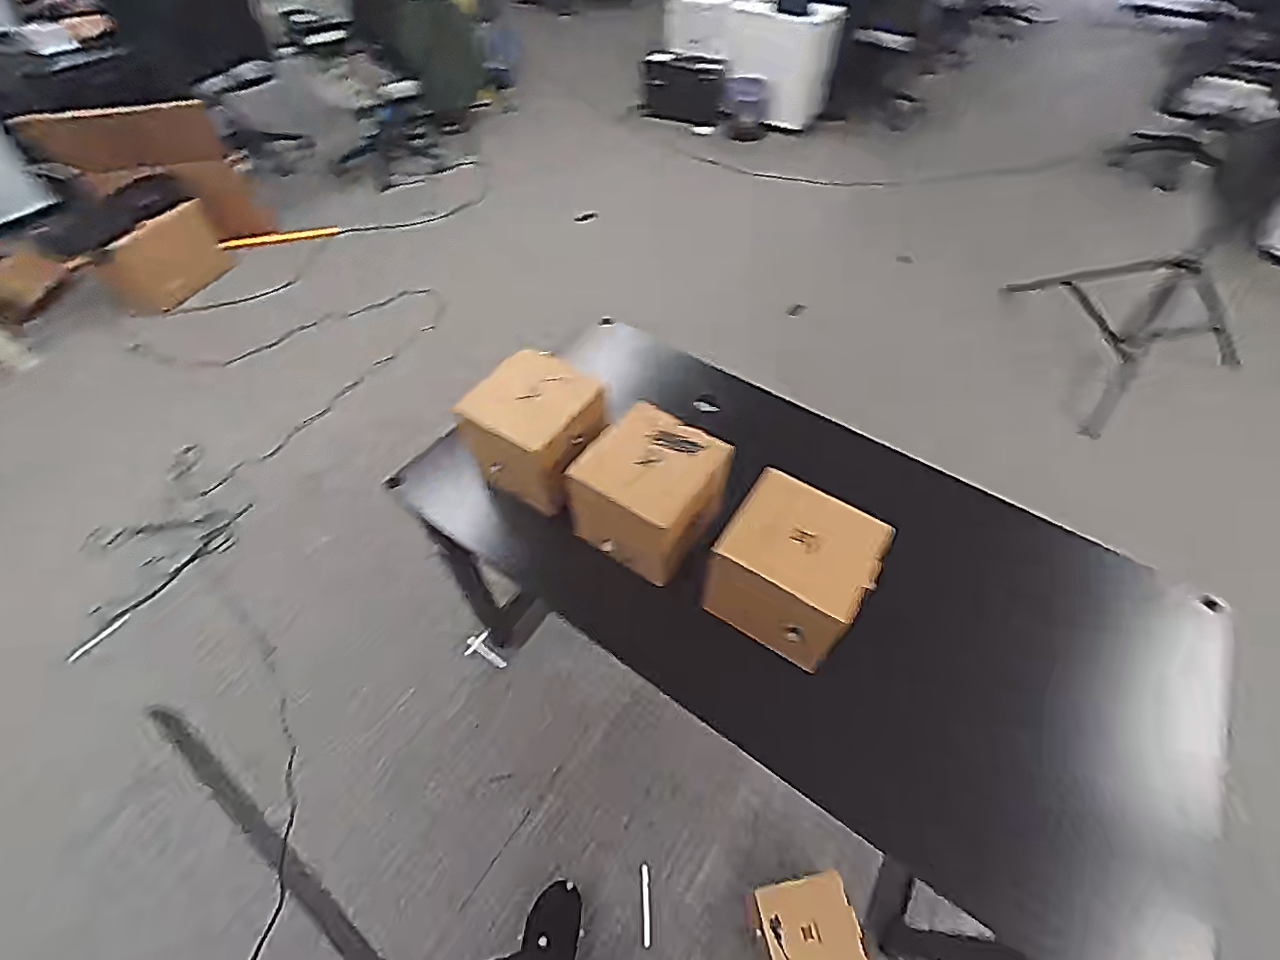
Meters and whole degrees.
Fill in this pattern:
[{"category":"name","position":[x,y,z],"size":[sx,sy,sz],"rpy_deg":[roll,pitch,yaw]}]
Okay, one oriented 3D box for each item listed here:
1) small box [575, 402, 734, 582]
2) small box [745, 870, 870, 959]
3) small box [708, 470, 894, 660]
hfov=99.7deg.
[{"category":"small box","position":[0.020,0.020,0.827],"size":[0.168,0.176,0.179],"rpy_deg":[30,59,20]},{"category":"small box","position":[0.325,0.895,1.079],"size":[0.179,0.176,0.168],"rpy_deg":[-9,53,-7]},{"category":"small box","position":[0.213,0.125,0.751],"size":[0.179,0.176,0.168],"rpy_deg":[29,57,21]}]
